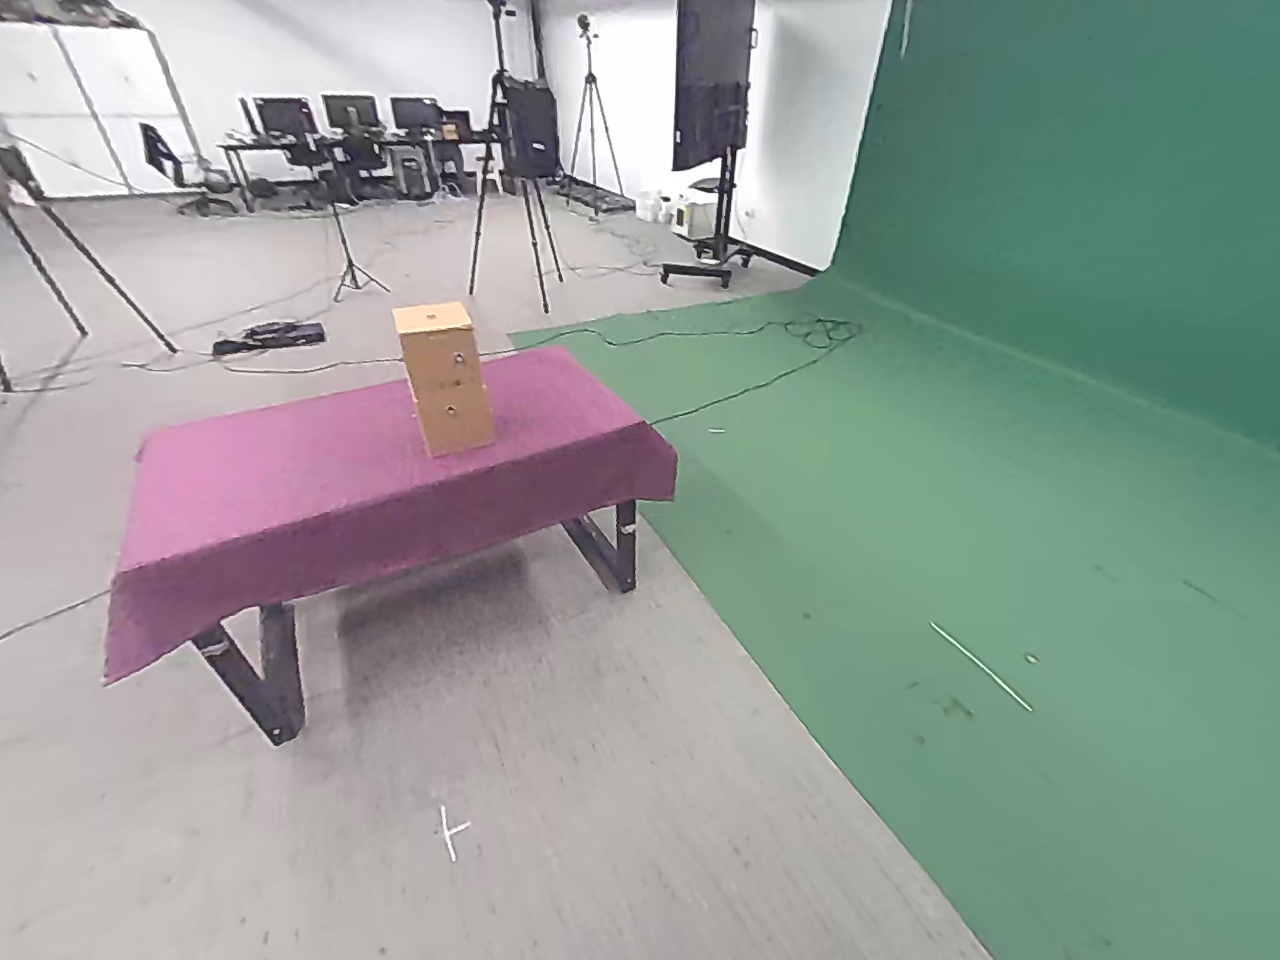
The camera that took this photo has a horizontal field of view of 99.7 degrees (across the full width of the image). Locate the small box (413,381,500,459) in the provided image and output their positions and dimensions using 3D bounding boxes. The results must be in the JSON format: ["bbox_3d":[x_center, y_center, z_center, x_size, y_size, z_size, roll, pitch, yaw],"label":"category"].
[{"bbox_3d":[-0.486,-0.175,1.438,0.179,0.176,0.168,-15,40,-19],"label":"small box"}]

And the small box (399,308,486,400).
[{"bbox_3d":[-0.490,-0.311,1.347,0.168,0.176,0.179,-14,38,-19],"label":"small box"}]
